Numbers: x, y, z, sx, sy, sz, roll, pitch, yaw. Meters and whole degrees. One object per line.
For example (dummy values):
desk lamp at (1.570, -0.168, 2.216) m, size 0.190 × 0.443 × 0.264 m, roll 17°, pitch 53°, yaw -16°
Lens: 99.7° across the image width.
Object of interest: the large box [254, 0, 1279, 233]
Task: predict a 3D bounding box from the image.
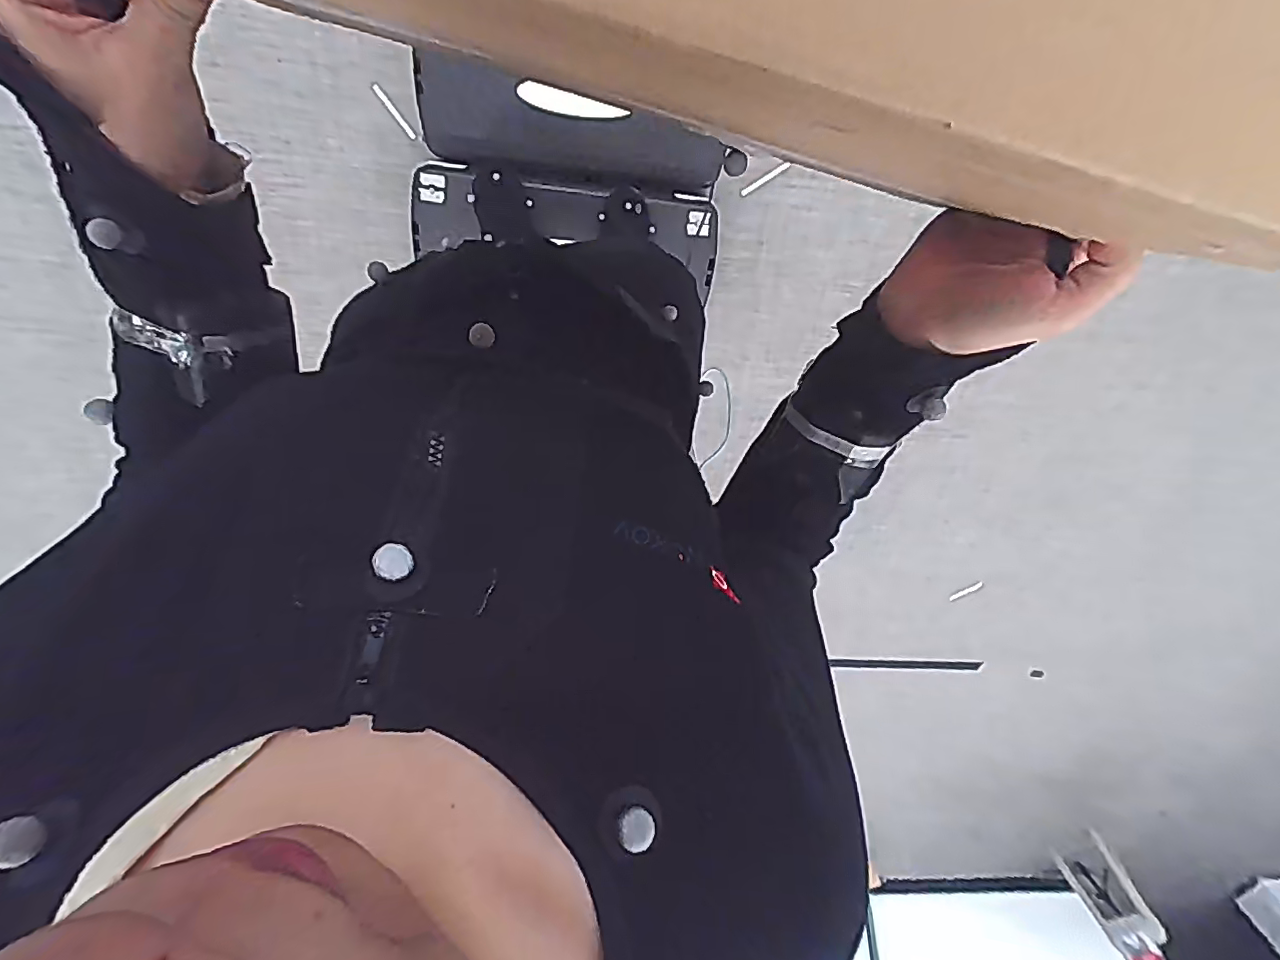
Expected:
large box at (0.013, -0.294, 0.143) m, size 0.408 × 0.320 × 0.320 m, roll 11°, pitch 123°, yaw -6°

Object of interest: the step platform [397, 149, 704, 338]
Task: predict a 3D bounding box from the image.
step platform at (-0.197, -0.542, 1.268) m, size 0.684 × 0.204 × 0.286 m, roll 9°, pitch 121°, yaw -7°
